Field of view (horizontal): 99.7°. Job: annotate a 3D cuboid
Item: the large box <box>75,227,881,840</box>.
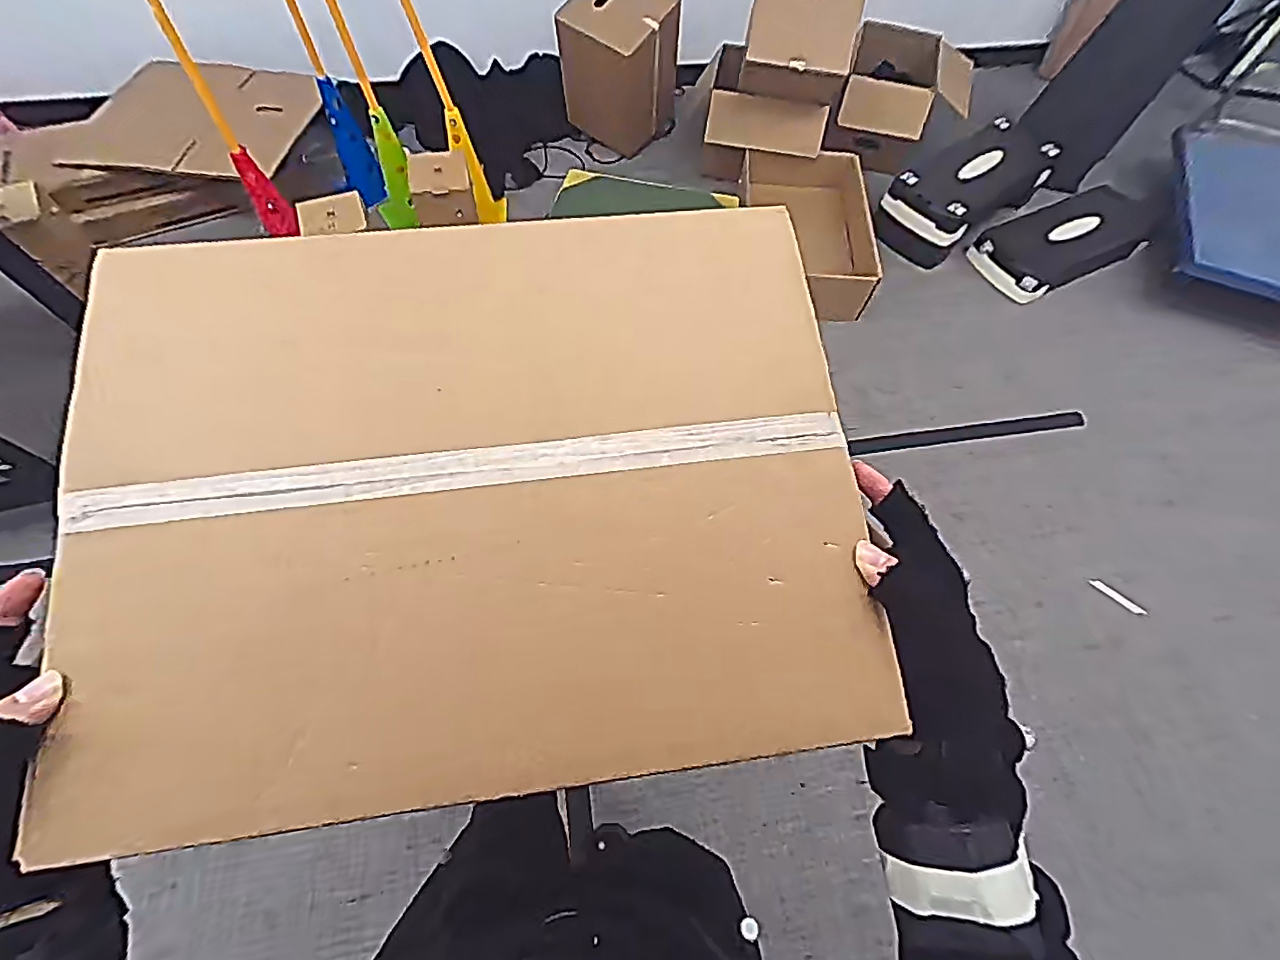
[{"bbox_3d":[-0.096,0.039,0.449,0.408,0.320,0.320,-6,76,-5],"label":"large box"}]
